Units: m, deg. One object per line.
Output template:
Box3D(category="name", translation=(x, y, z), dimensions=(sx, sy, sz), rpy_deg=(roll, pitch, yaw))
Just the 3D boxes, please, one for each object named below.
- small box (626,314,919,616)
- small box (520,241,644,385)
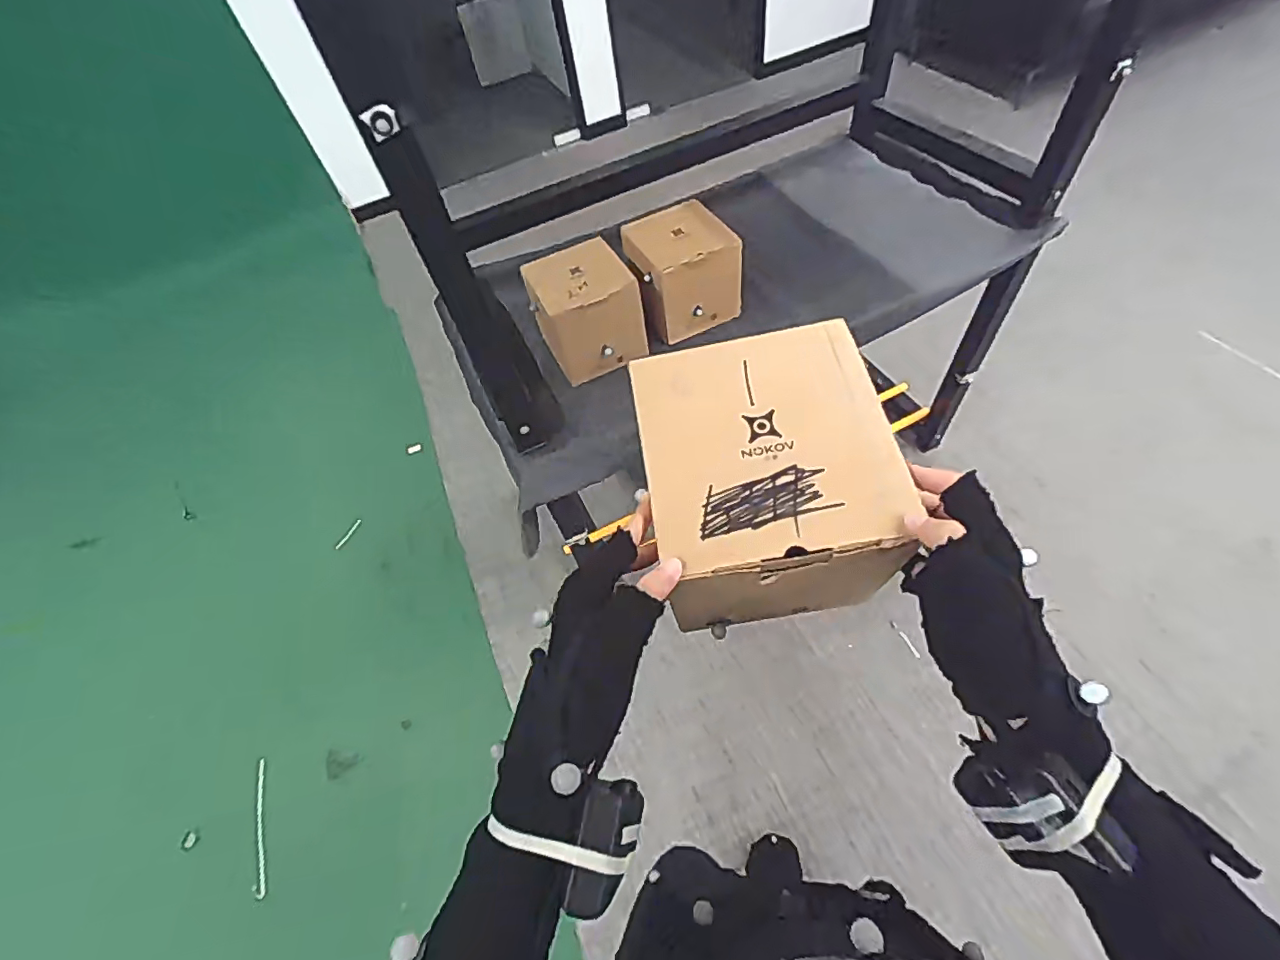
Box3D(category="small box", translation=(0.090, 0.002, 0.436), dimensions=(0.168, 0.176, 0.179), rpy_deg=(-10, 61, 4))
Box3D(category="small box", translation=(-0.106, -0.314, 1.026), dimensions=(0.168, 0.176, 0.179), rpy_deg=(-25, 55, -9))
